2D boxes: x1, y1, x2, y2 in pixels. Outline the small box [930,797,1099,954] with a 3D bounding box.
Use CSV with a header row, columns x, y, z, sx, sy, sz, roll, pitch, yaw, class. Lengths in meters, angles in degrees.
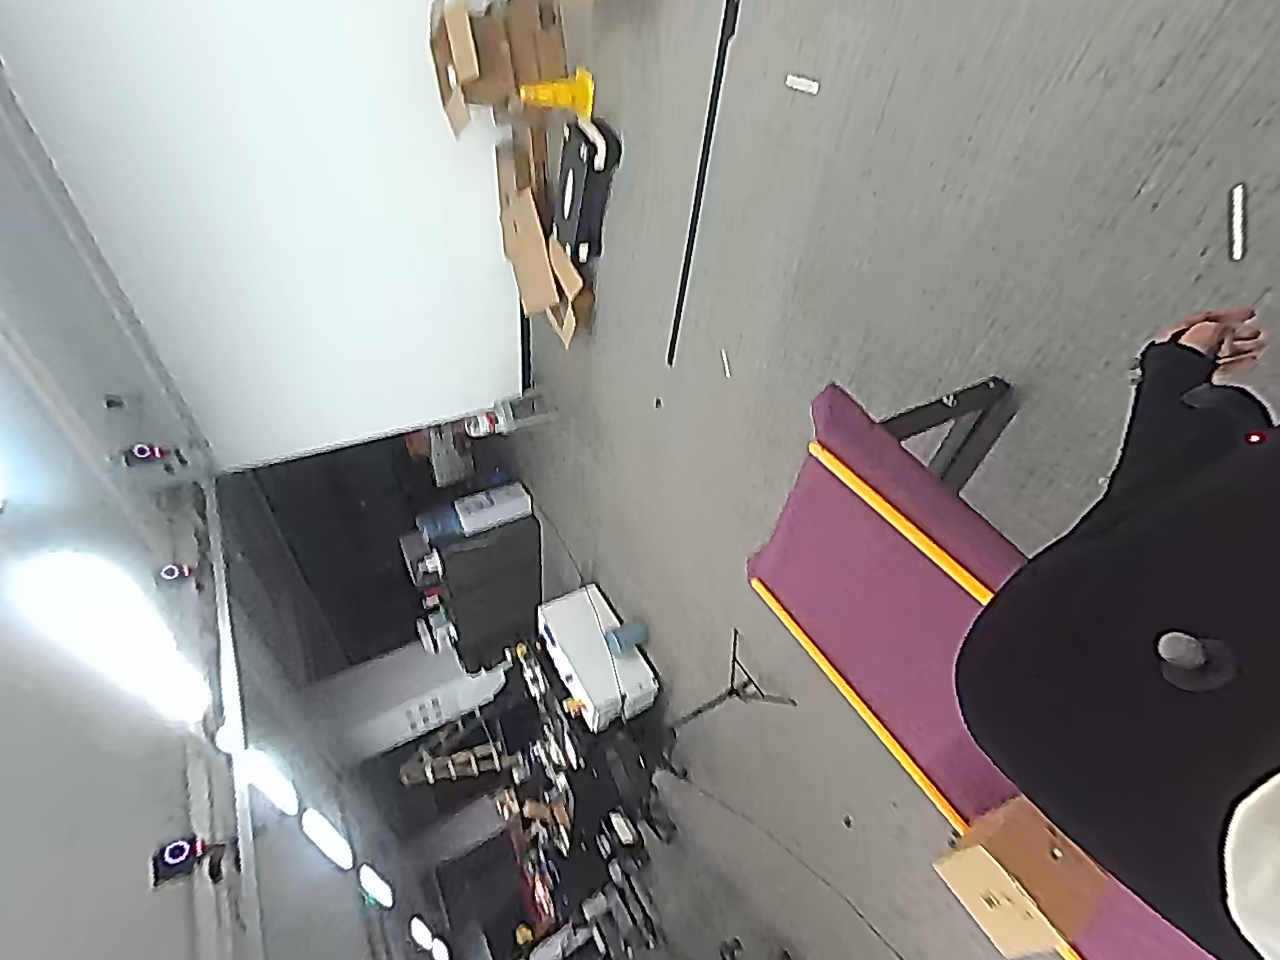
x,y,z,sx,sy,sz,roll,pitch,yaw,class
0.703,0.740,1.020,0.168,0.176,0.179,51,145,34,small box
